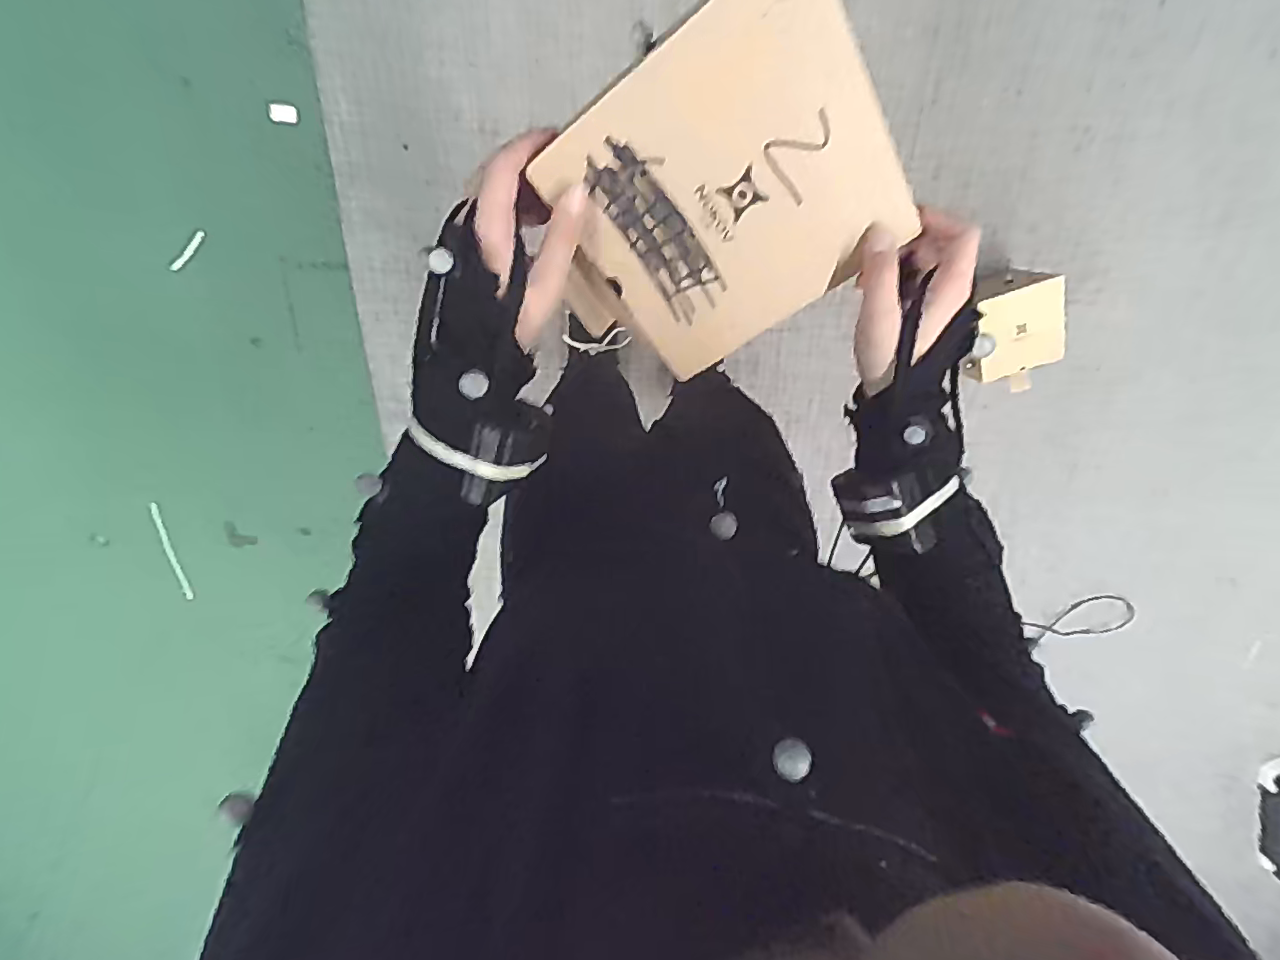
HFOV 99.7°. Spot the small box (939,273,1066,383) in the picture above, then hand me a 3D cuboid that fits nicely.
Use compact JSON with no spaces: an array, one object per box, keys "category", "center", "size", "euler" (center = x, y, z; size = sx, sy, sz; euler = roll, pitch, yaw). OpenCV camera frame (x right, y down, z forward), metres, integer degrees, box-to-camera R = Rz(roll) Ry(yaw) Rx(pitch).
[{"category":"small box","center":[0.767,-0.332,1.158],"size":[0.168,0.176,0.179],"euler":[-18,115,8]}]
